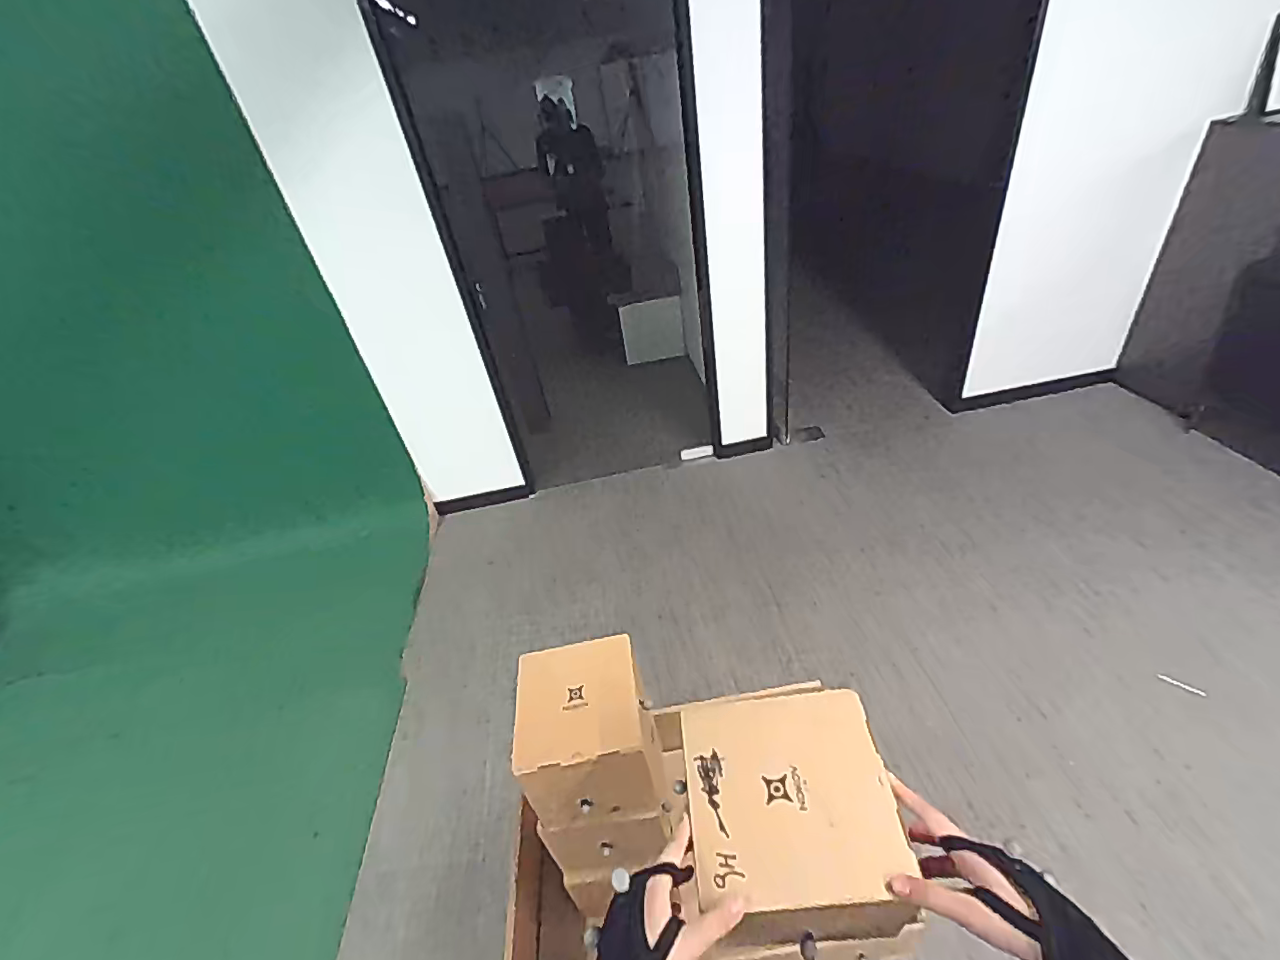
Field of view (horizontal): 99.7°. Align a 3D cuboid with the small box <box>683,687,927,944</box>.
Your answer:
[{"bbox_3d":[0.140,0.323,0.520,0.179,0.176,0.168,-8,40,5],"label":"small box"}]

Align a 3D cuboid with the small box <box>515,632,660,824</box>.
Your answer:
[{"bbox_3d":[-0.070,0.352,0.774,0.168,0.176,0.179,-11,36,0],"label":"small box"}]
